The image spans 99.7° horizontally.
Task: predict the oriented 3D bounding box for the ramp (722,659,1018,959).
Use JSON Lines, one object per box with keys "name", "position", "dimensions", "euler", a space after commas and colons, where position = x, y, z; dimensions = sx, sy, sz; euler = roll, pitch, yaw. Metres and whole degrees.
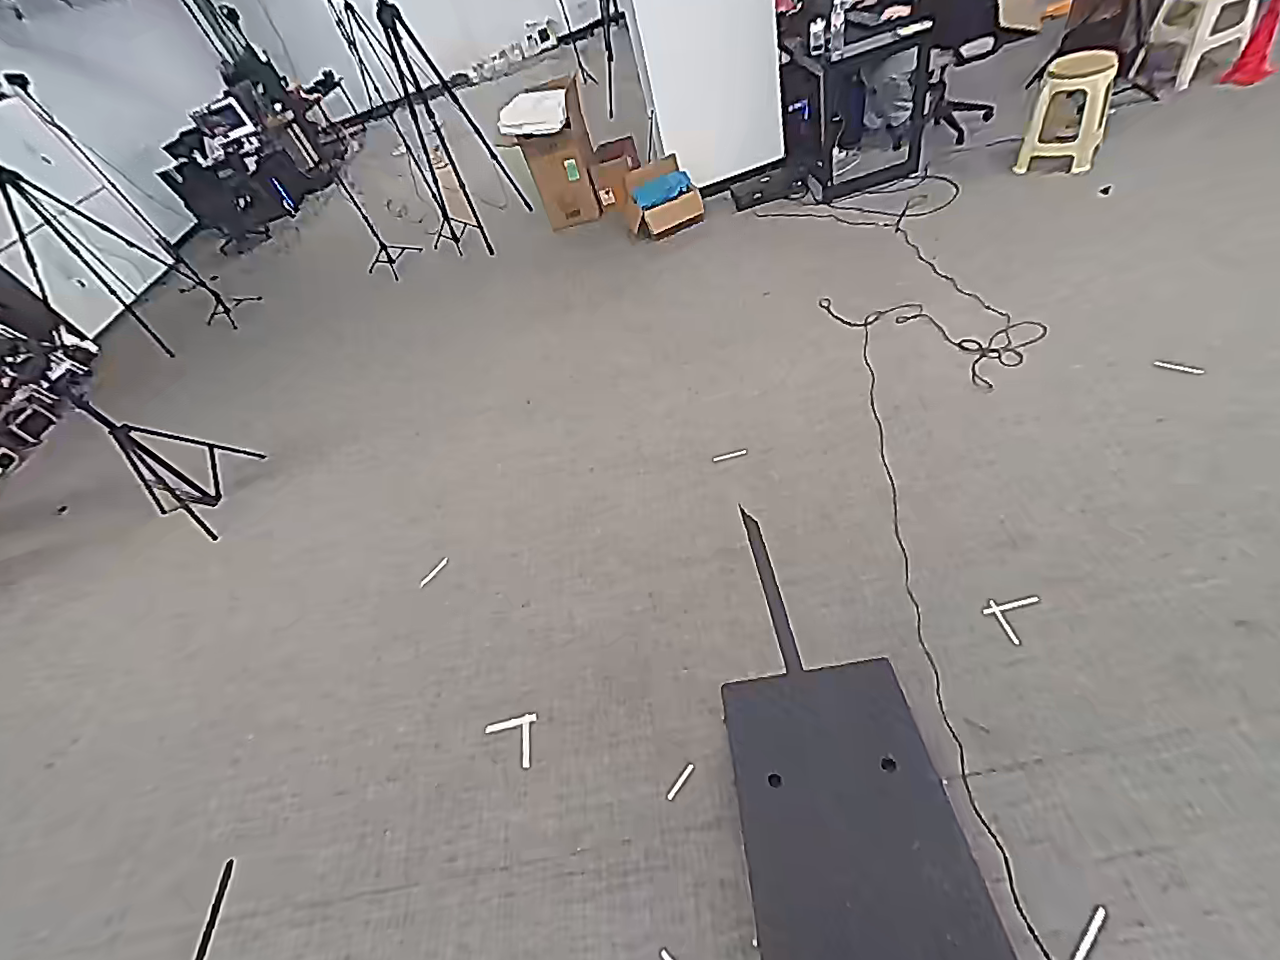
{"name": "ramp", "position": [0.485, 0.875, 1.202], "dimensions": [0.509, 0.206, 0.991], "euler": [-15, 46, 8]}
